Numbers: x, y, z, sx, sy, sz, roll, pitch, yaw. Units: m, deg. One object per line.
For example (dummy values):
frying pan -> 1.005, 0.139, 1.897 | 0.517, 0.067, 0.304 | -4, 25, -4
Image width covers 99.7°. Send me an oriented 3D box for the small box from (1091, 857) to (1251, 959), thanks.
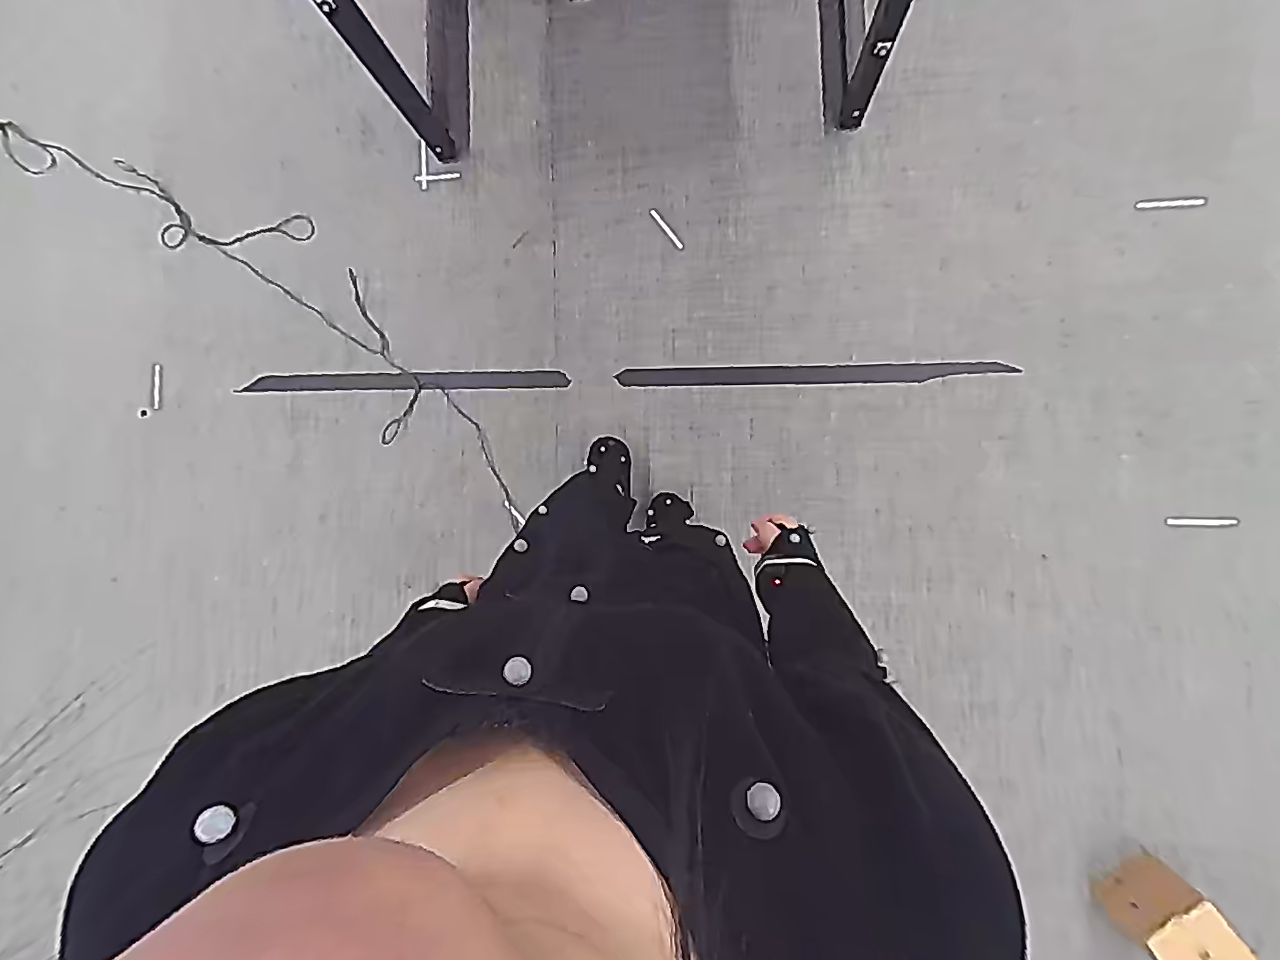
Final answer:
small box -> 1.224, 1.030, 1.261 | 0.168, 0.176, 0.179 | -38, 86, 5
